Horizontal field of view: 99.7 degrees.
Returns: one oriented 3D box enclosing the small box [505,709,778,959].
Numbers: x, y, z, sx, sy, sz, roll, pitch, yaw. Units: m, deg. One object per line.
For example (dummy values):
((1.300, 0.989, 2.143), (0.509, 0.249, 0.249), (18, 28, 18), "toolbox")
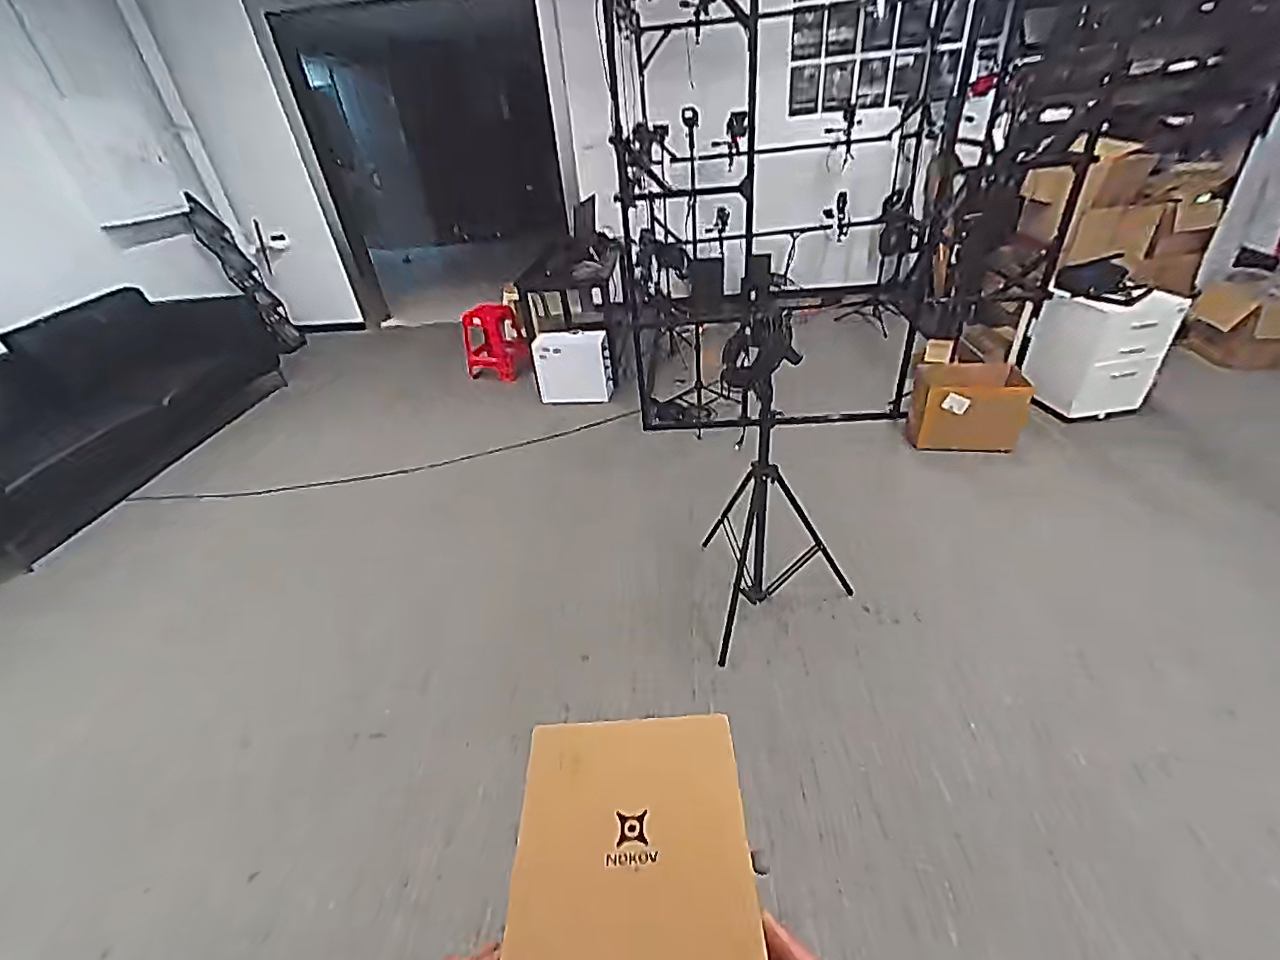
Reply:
((0.004, 0.308, 0.423), (0.168, 0.176, 0.179), (-5, 38, 1), "small box")
